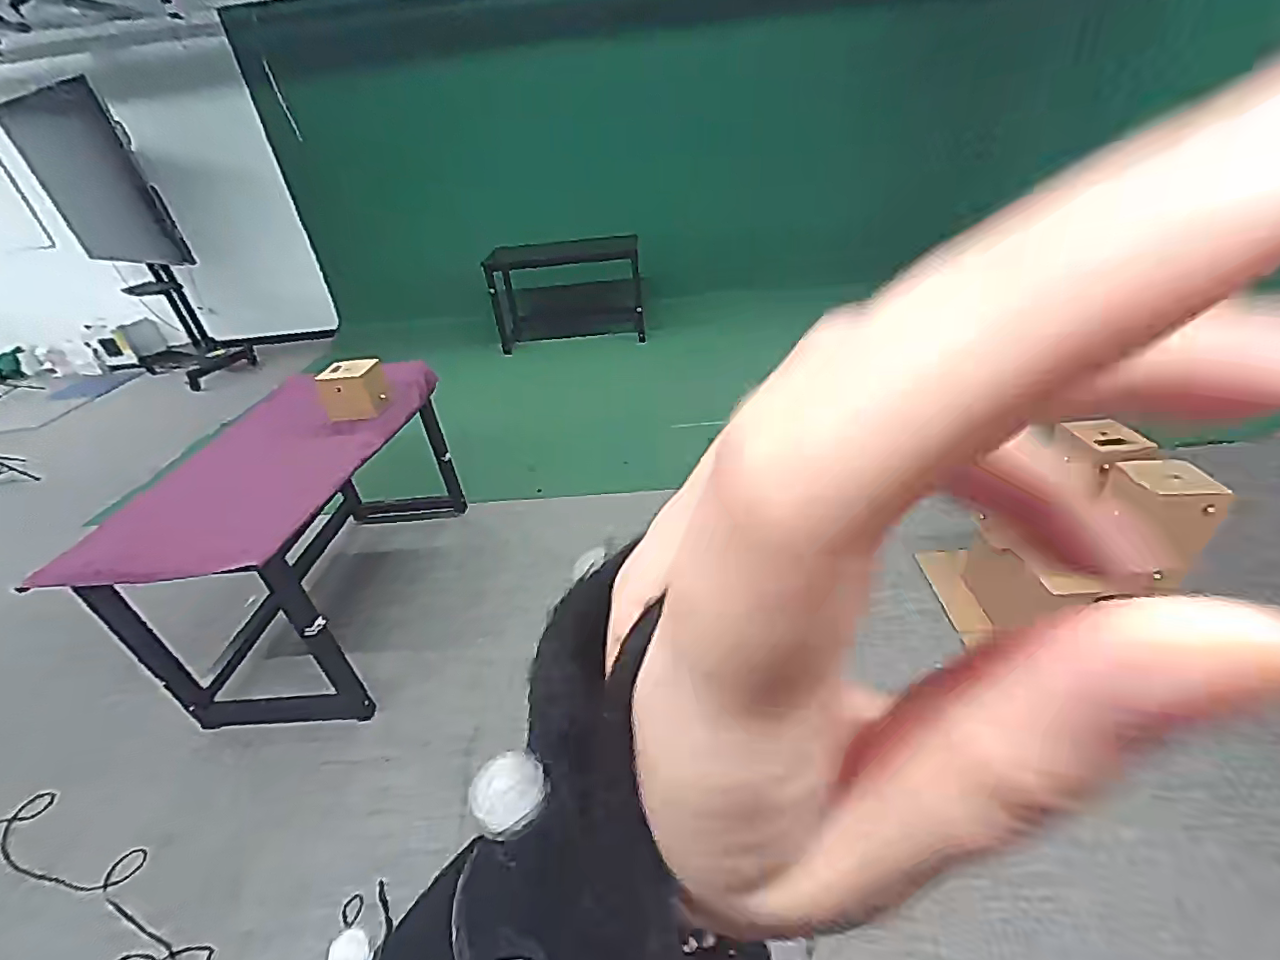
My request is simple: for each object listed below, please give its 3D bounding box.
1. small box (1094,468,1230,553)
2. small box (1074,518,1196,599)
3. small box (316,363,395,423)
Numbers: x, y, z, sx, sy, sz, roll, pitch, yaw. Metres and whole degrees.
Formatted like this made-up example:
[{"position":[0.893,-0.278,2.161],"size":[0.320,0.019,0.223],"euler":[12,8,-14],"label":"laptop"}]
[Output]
[{"position":[1.371,0.081,1.436],"size":[0.179,0.176,0.168],"euler":[-1,31,7],"label":"small box"},{"position":[1.383,0.221,1.526],"size":[0.168,0.176,0.179],"euler":[-2,31,6],"label":"small box"},{"position":[-1.048,-0.319,2.007],"size":[0.179,0.176,0.168],"euler":[-4,33,3],"label":"small box"}]
